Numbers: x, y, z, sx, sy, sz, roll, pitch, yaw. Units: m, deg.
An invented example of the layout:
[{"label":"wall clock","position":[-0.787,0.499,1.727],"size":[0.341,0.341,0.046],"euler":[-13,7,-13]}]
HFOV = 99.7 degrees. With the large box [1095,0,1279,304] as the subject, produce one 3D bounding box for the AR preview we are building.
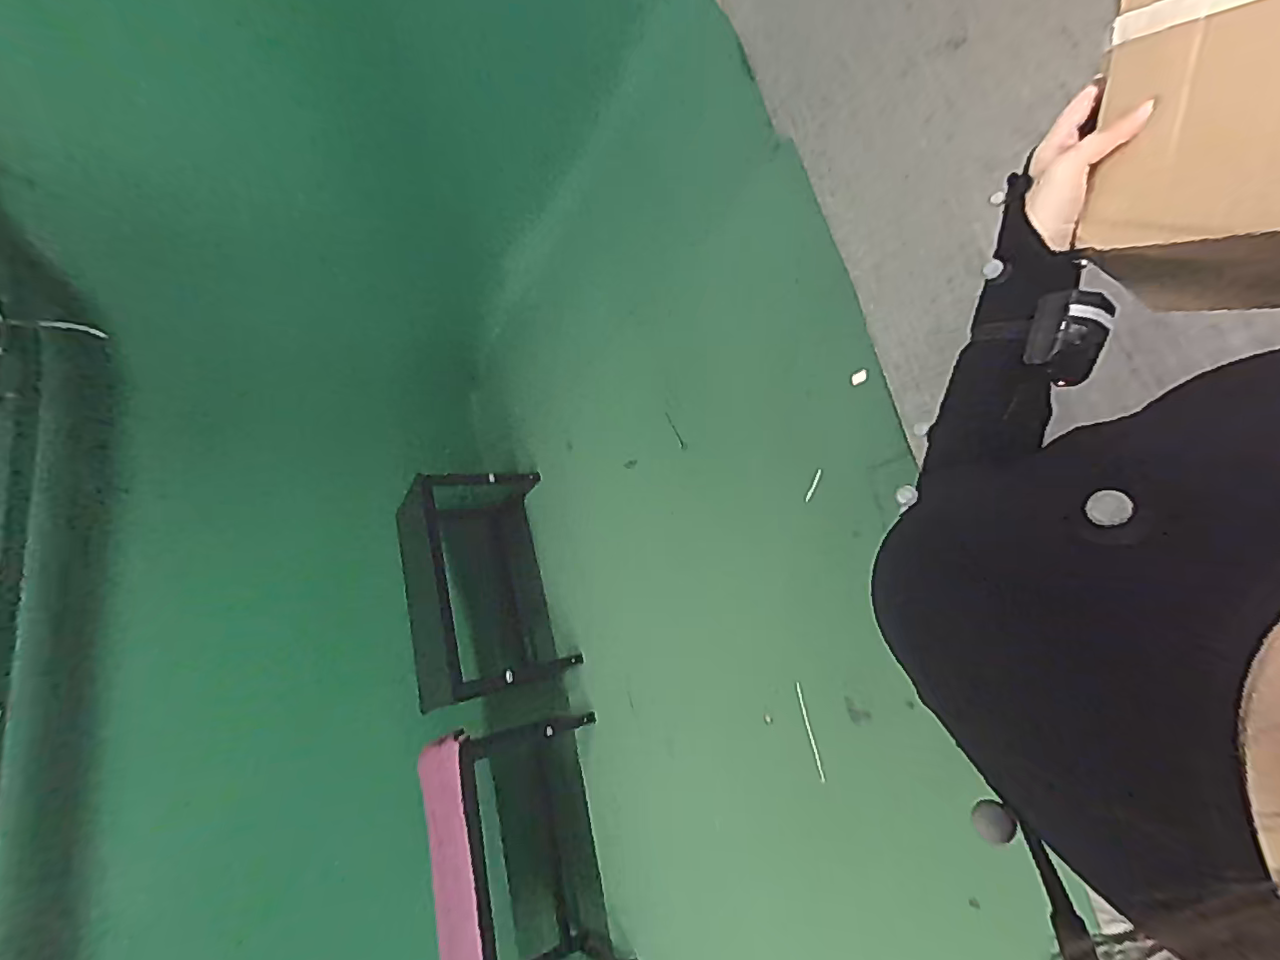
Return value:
[{"label":"large box","position":[0.603,-0.308,0.345],"size":[0.408,0.320,0.320],"euler":[17,105,48]}]
